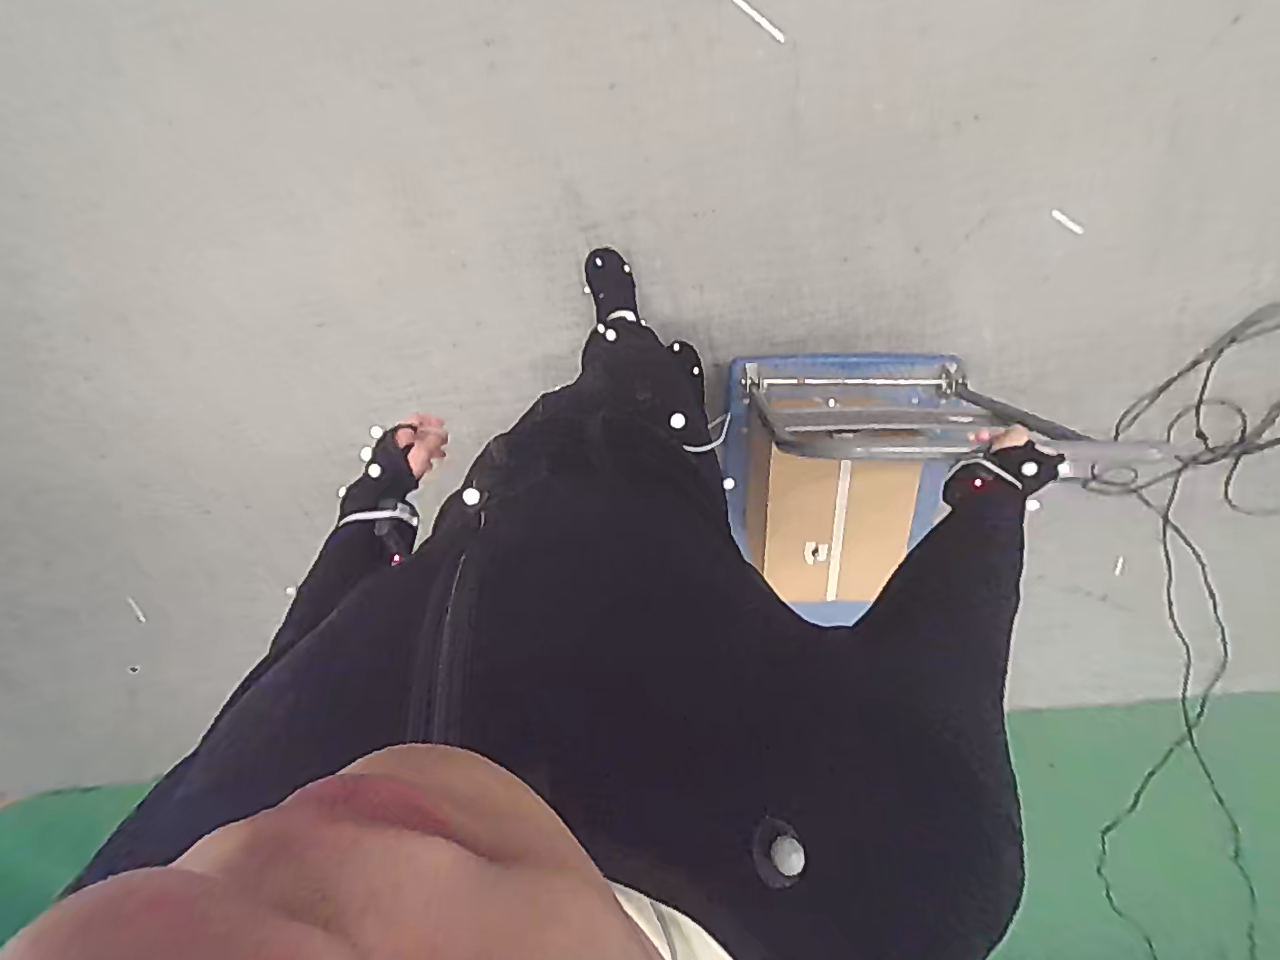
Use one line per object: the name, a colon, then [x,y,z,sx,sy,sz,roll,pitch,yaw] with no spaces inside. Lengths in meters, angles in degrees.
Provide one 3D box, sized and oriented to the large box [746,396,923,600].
large box: [0.438,0.034,1.315,0.320,0.320,0.408,-1,115,3]
